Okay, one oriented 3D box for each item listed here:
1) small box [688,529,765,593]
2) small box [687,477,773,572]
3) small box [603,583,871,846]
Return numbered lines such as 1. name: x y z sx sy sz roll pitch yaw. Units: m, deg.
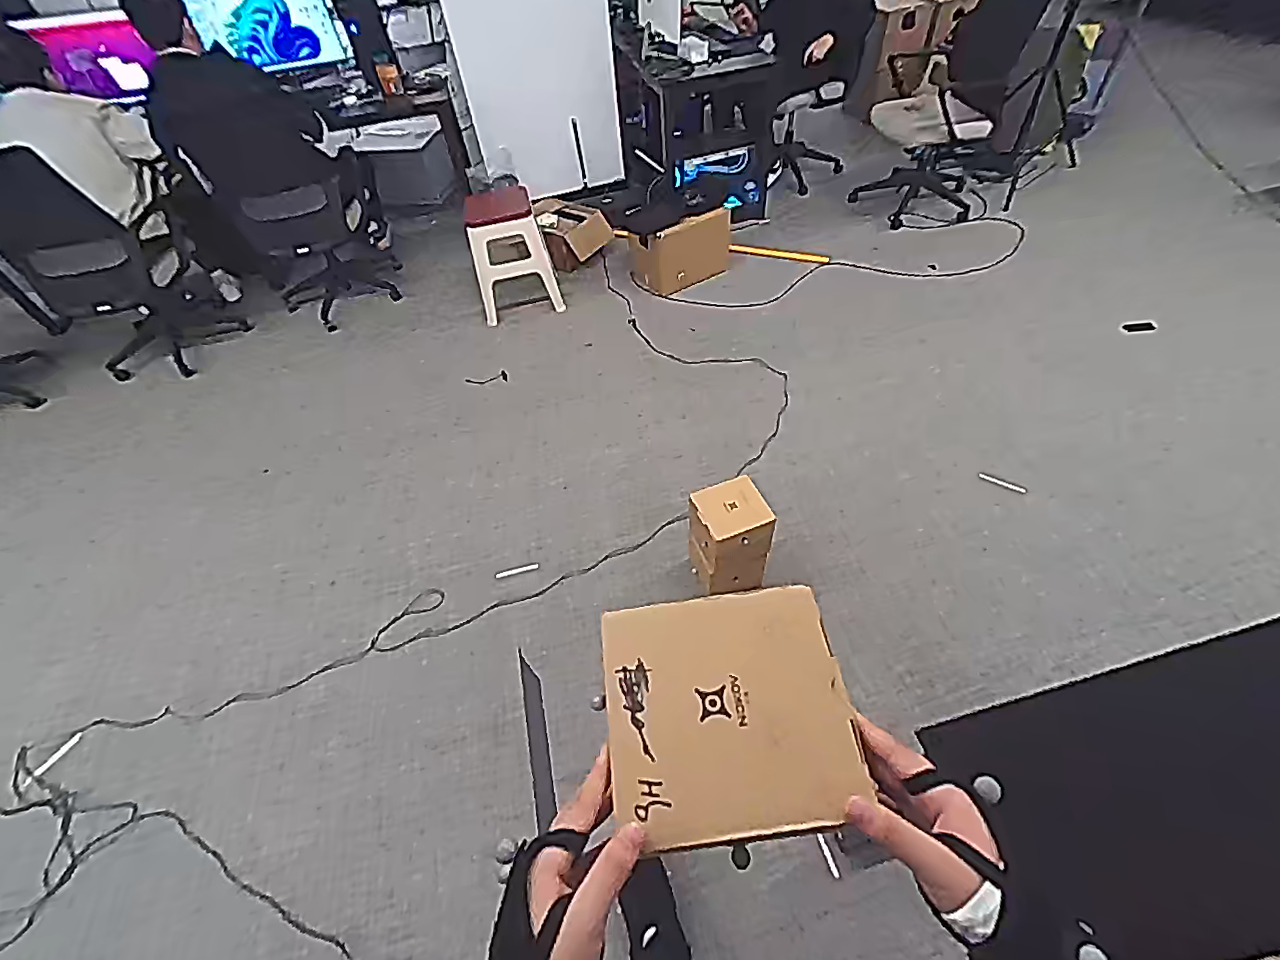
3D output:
1. small box: 0.250 0.233 1.605 0.179 0.176 0.168 -18 51 -8
2. small box: 0.243 0.127 1.482 0.179 0.176 0.168 -19 51 -10
3. small box: 0.066 0.207 0.468 0.179 0.176 0.168 -7 53 -1
